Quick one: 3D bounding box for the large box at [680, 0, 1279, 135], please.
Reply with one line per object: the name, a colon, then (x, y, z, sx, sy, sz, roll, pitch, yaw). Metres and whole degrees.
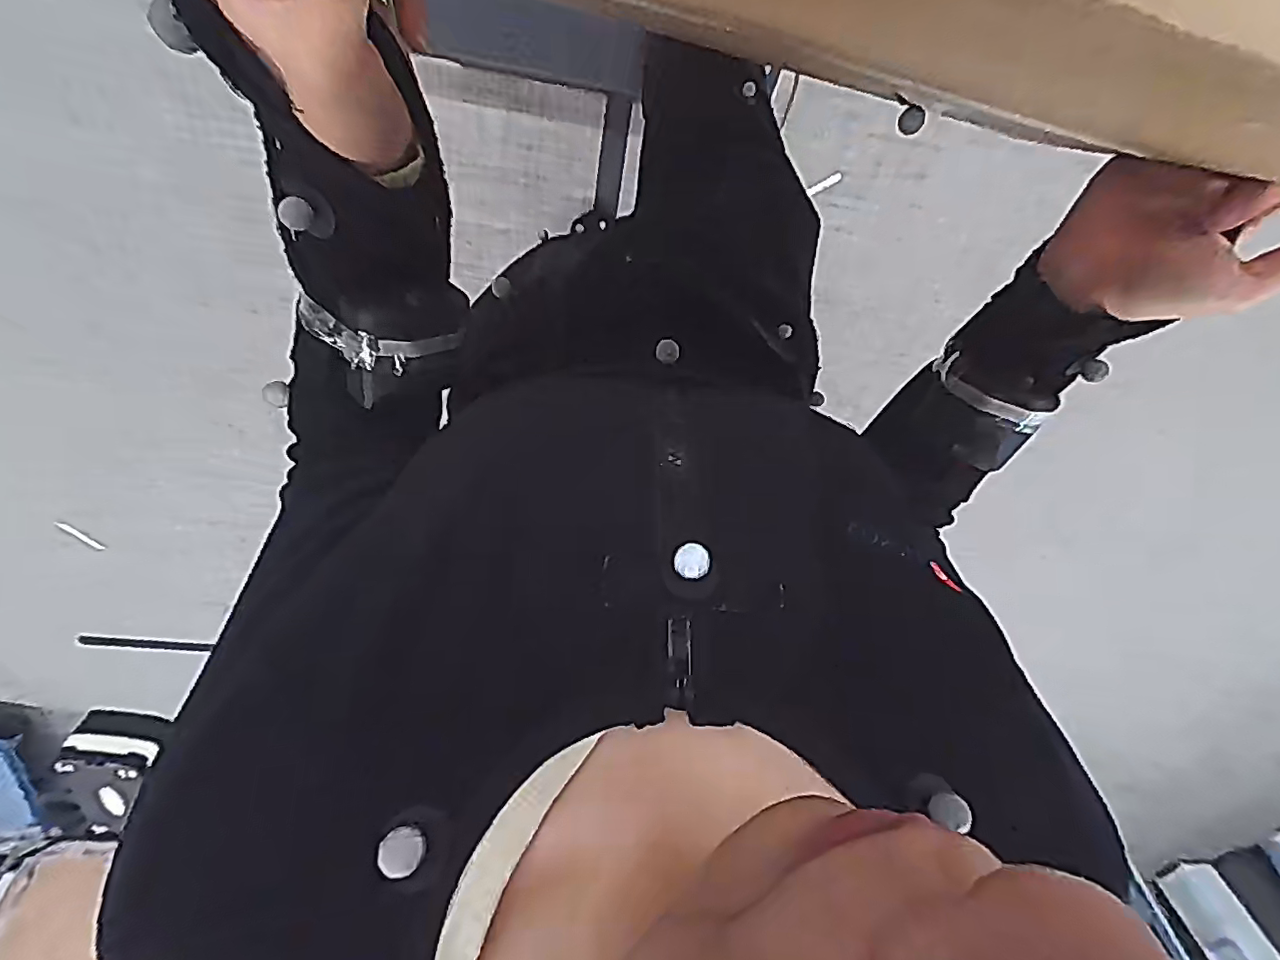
large box: (0.115, -0.304, 0.117, 0.408, 0.320, 0.320, 5, 128, -13)
